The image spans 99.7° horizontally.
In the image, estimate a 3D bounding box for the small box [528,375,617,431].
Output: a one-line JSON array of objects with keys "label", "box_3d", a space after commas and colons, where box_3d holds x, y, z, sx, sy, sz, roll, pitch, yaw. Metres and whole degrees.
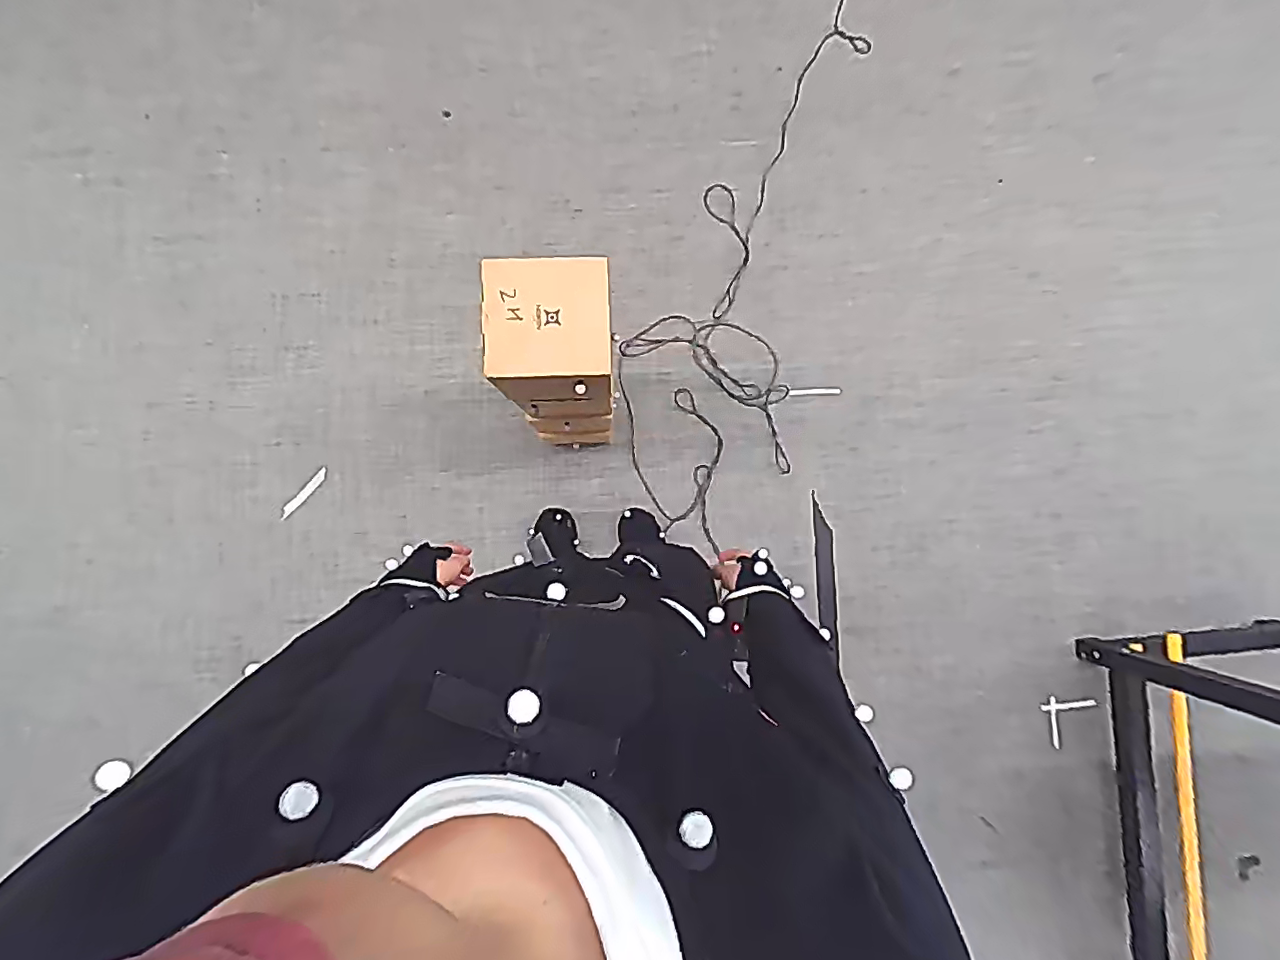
[{"label": "small box", "box_3d": [-0.139, -0.197, 1.147, 0.179, 0.176, 0.168, -2, 89, -2]}]

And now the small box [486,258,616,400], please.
[{"label": "small box", "box_3d": [-0.126, -0.219, 0.818, 0.179, 0.176, 0.168, -1, 87, -2]}]

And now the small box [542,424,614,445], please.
[{"label": "small box", "box_3d": [-0.147, -0.182, 1.309, 0.168, 0.176, 0.179, -2, 89, -2]}]
